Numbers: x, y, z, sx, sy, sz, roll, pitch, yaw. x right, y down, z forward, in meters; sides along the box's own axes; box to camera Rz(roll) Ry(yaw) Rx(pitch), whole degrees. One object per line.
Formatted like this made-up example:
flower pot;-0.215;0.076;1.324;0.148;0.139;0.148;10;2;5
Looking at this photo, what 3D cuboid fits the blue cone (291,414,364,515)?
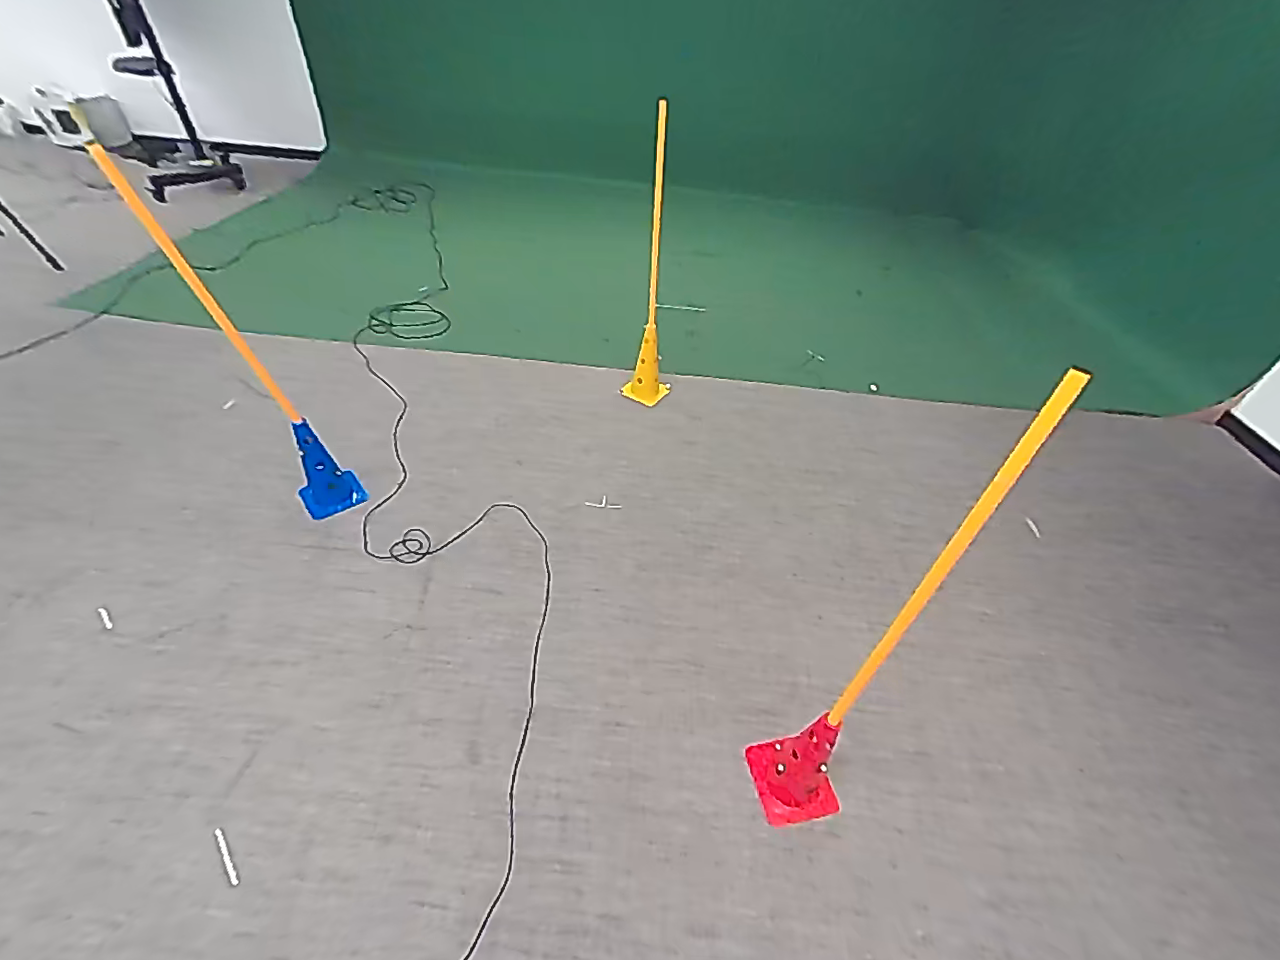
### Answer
blue cone;-1.139;-0.072;1.907;0.193;0.380;0.192;-30;55;-30
